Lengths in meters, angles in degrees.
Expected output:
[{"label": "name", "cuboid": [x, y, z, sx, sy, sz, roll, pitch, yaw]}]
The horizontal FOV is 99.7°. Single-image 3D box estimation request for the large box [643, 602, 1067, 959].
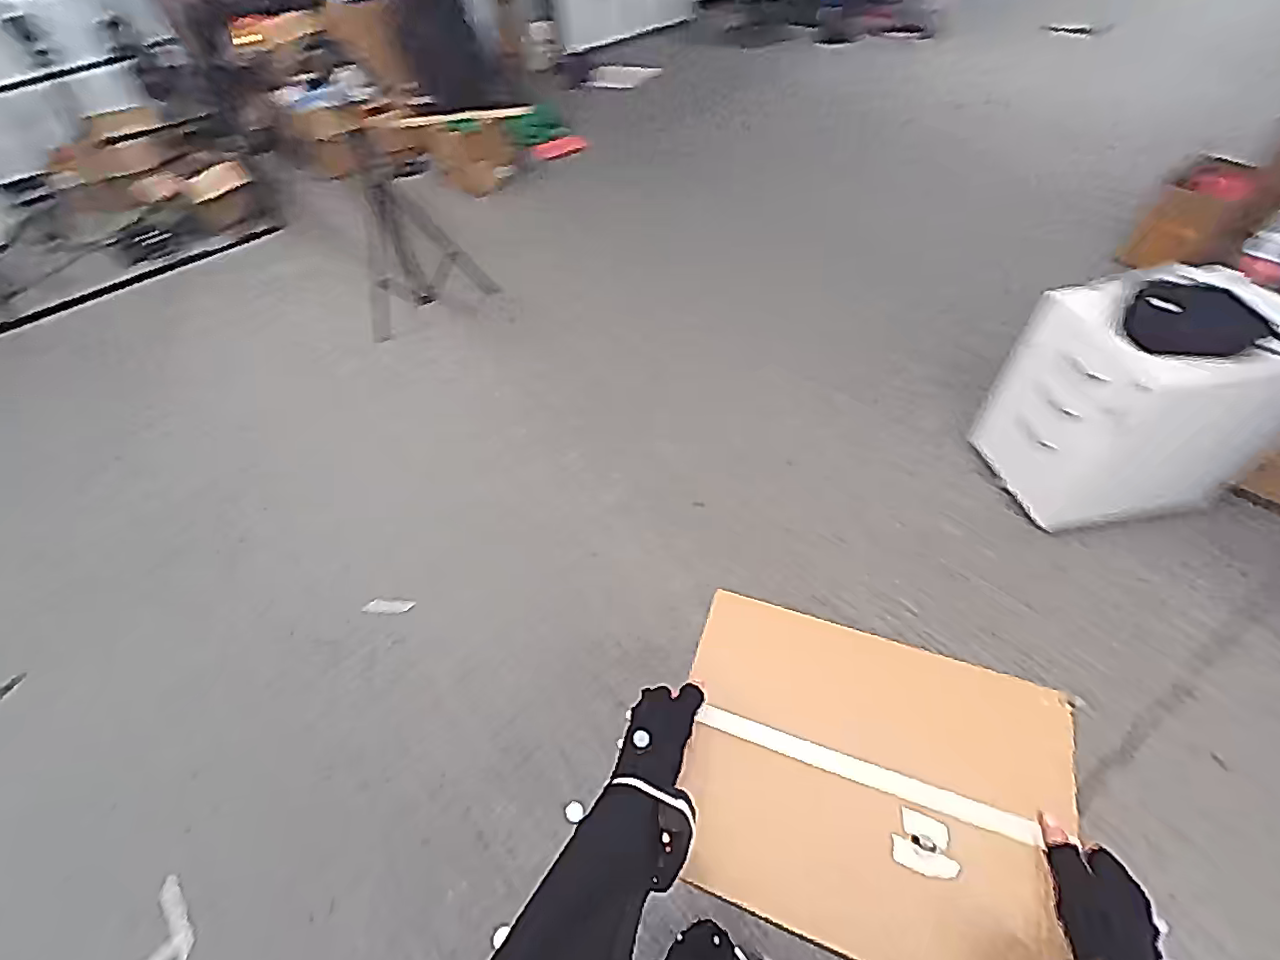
[{"label": "large box", "cuboid": [0.247, 0.409, 0.715, 0.408, 0.320, 0.320, 14, 57, 15]}]
